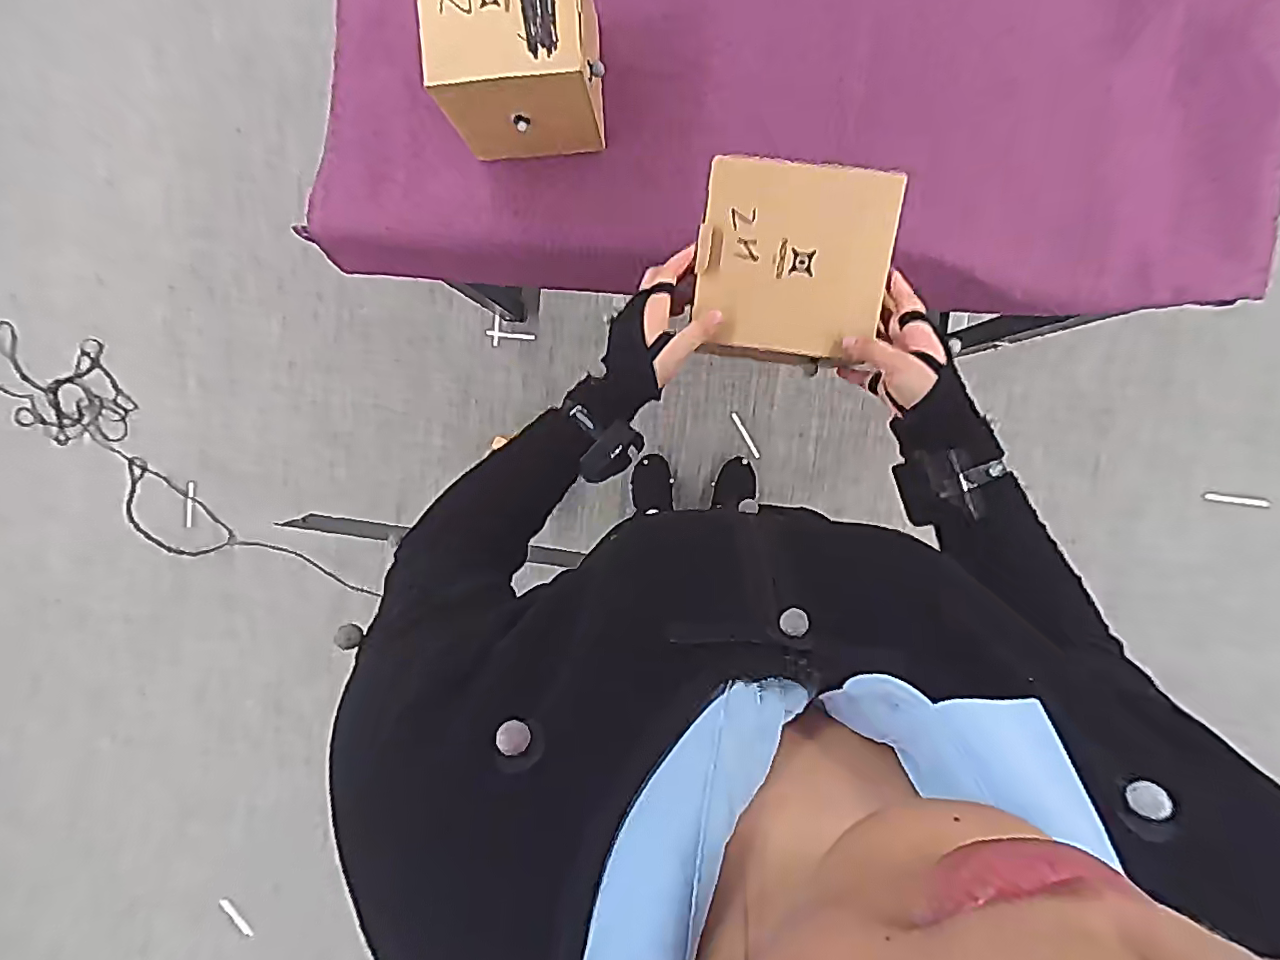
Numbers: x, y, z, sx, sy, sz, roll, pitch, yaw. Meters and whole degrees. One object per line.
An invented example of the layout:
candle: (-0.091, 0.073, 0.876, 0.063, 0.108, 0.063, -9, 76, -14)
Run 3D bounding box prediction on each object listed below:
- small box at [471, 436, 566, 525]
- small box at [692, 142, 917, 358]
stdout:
small box: (-0.315, -0.004, 1.443, 0.168, 0.176, 0.179, 28, 96, 0)
small box: (0.154, -0.223, 0.569, 0.179, 0.176, 0.168, 9, 100, 5)
